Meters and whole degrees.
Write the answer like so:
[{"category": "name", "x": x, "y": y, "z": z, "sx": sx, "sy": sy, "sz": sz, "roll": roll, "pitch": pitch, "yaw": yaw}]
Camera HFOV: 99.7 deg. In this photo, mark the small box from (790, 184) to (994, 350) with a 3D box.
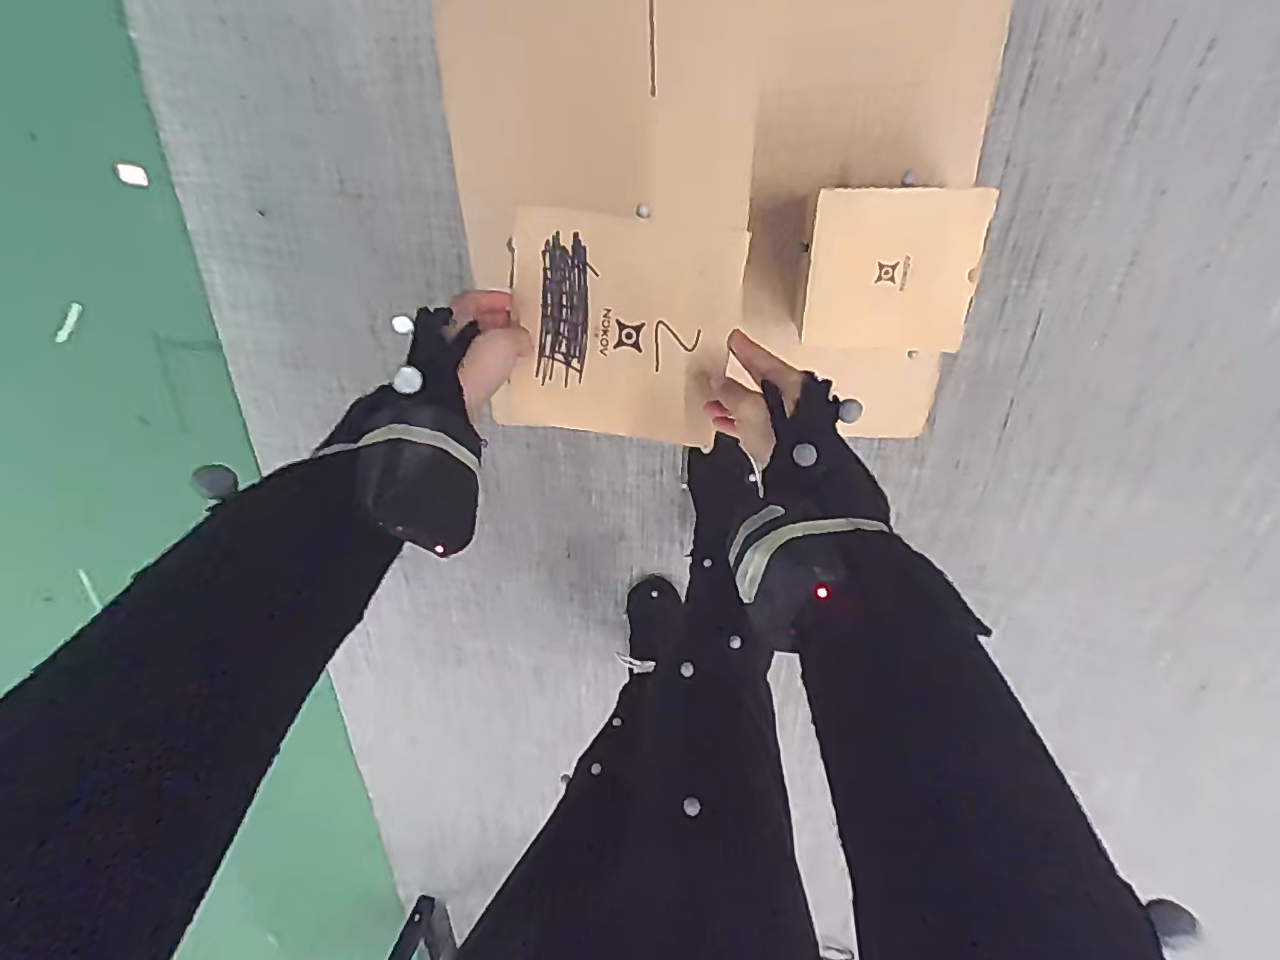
[{"category": "small box", "x": 0.282, "y": -0.258, "z": 0.654, "sx": 0.179, "sy": 0.176, "sz": 0.168, "roll": 4, "pitch": 116, "yaw": 10}]
